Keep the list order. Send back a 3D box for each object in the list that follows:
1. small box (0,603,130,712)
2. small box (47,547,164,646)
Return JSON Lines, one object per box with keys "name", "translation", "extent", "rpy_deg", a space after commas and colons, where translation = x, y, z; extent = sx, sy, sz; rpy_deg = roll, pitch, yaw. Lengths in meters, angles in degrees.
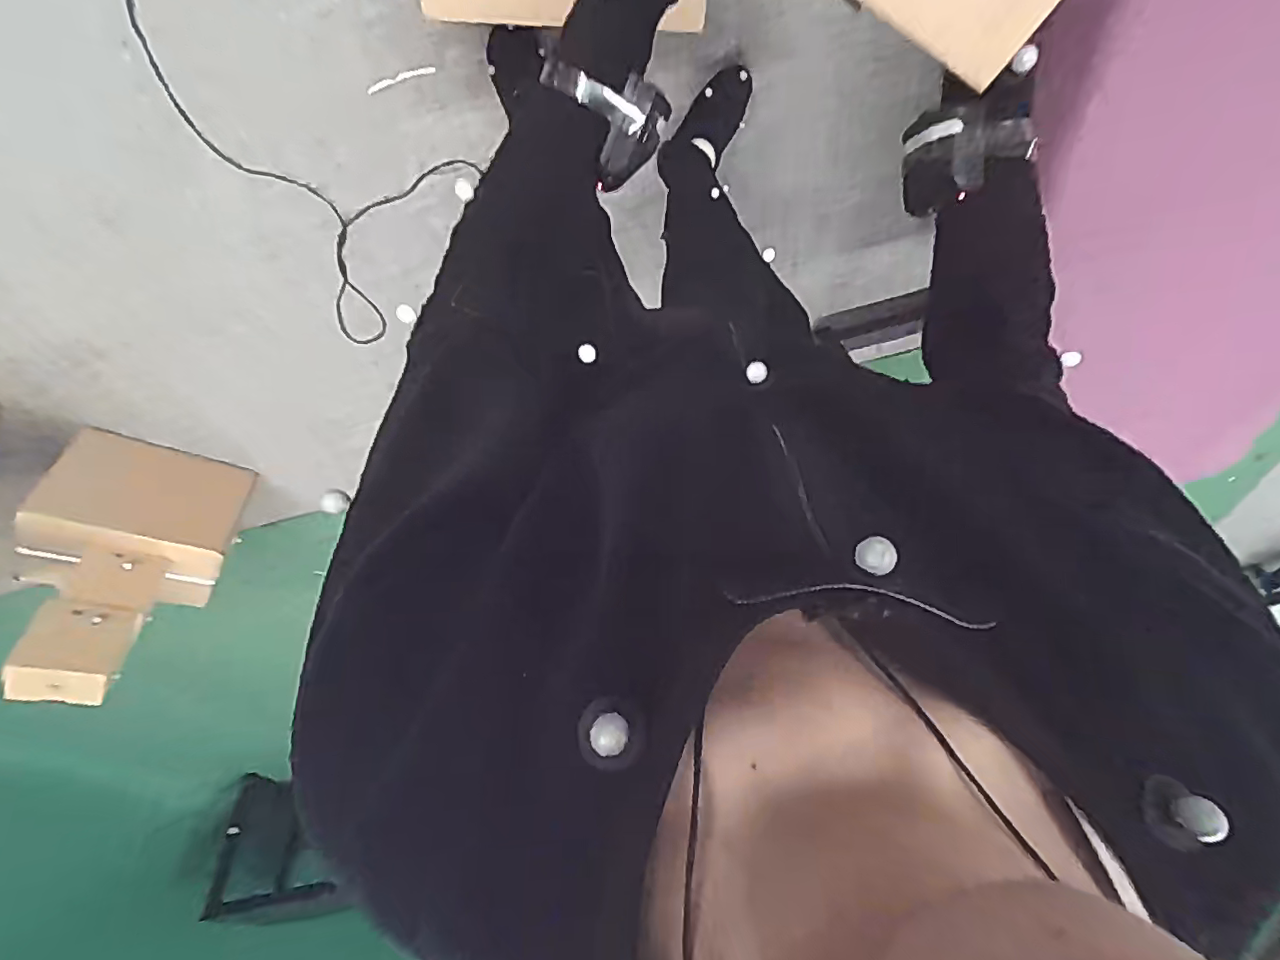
{"name": "small box", "translation": [-1.326, 0.411, 1.248], "extent": [0.168, 0.176, 0.179], "rpy_deg": [23, 127, -32]}
{"name": "small box", "translation": [-1.350, 0.299, 1.365], "extent": [0.168, 0.176, 0.179], "rpy_deg": [26, 125, -33]}
